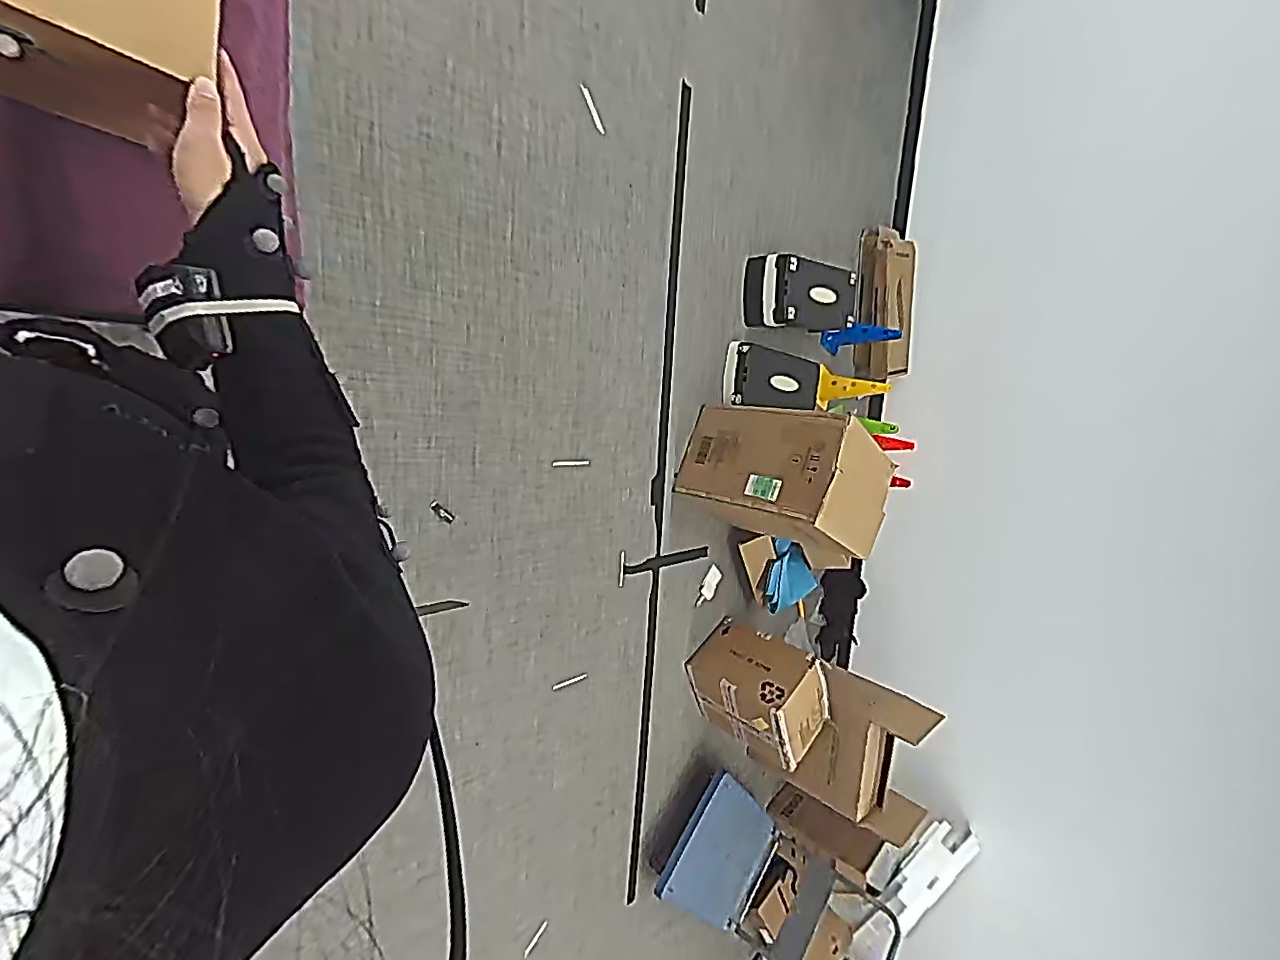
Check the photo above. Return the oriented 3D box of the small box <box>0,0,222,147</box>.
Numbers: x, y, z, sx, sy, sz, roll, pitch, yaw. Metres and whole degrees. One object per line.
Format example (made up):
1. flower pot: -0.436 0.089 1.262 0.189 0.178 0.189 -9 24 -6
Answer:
1. small box: -0.406 -0.365 0.370 0.179 0.176 0.168 3 96 -46
